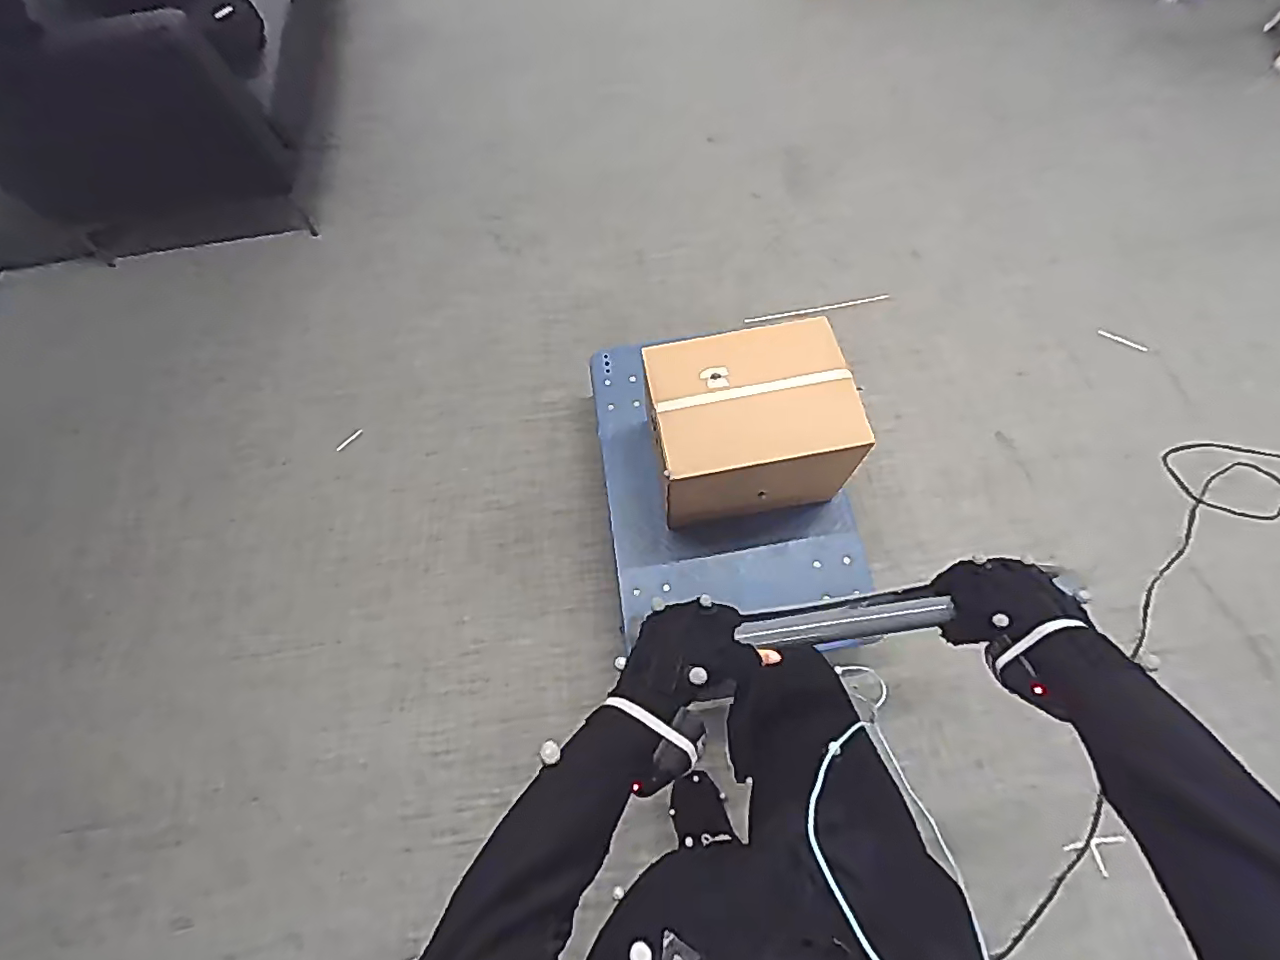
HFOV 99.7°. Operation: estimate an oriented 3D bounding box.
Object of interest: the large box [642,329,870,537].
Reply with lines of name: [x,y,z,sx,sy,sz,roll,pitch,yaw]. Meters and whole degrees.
large box: [0.239,-0.092,1.243,0.408,0.320,0.320,-12,66,0]
